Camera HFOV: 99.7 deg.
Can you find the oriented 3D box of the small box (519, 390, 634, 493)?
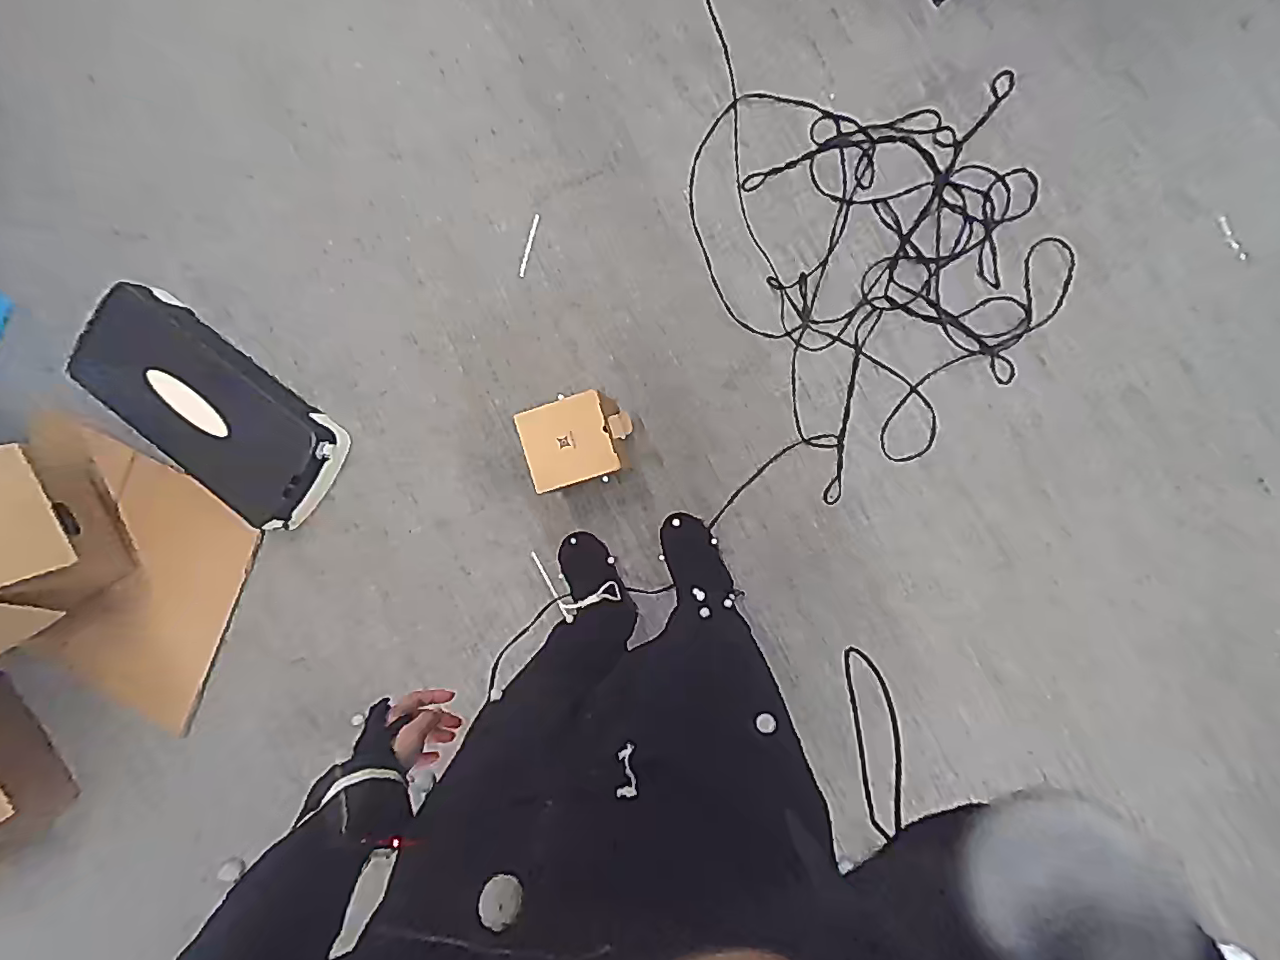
[{"bbox_3d":[-0.125,-0.073,1.131,0.179,0.176,0.168,-17,88,7],"label":"small box"}]
